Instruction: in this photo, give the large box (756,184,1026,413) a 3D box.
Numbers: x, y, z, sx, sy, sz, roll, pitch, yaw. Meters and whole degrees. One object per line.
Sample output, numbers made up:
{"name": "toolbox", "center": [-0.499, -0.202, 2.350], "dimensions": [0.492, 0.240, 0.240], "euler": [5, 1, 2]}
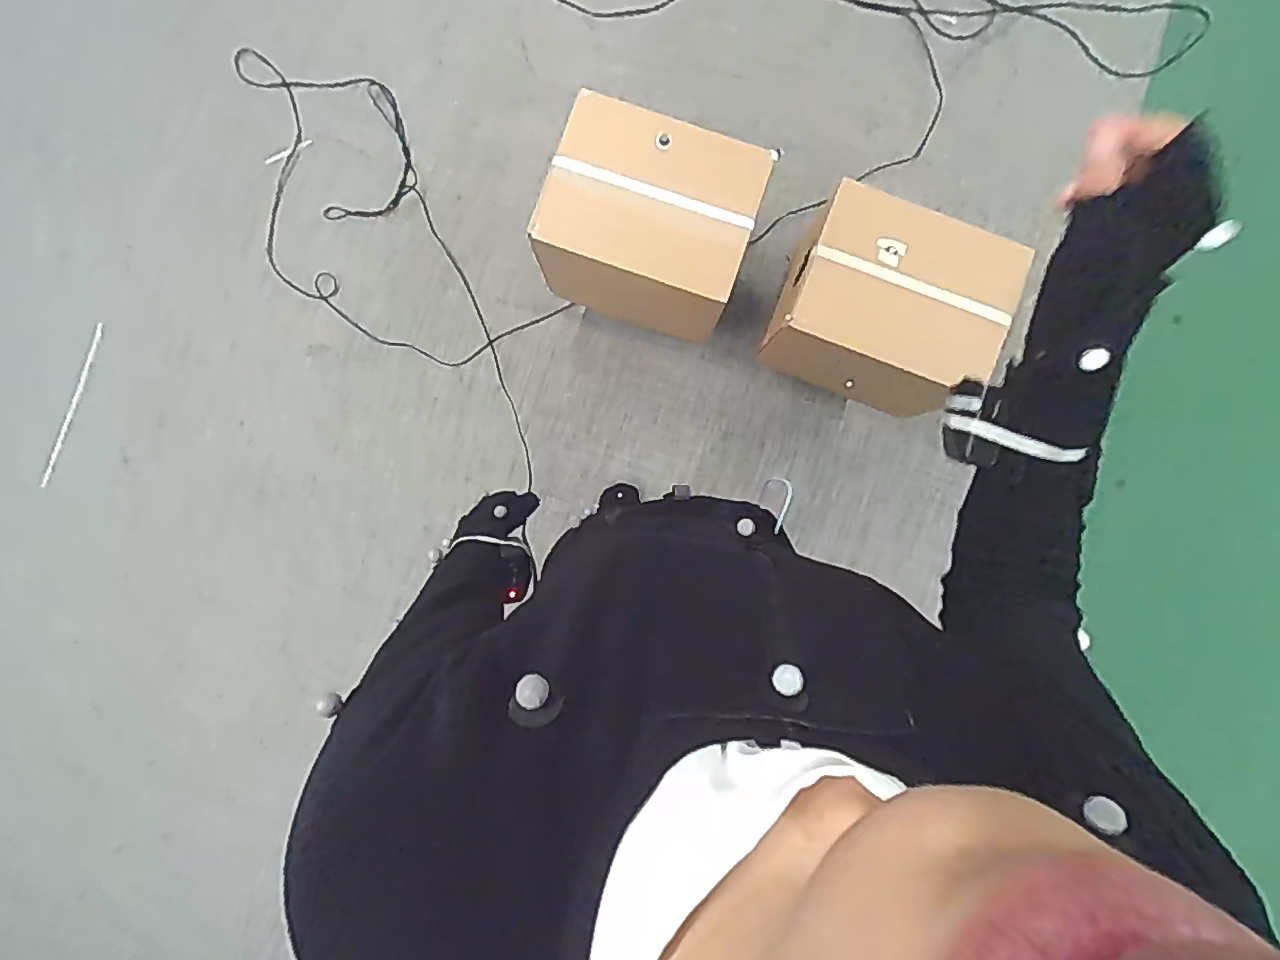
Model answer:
{"name": "large box", "center": [0.525, -0.372, 1.208], "dimensions": [0.408, 0.320, 0.320], "euler": [21, 88, 1]}
